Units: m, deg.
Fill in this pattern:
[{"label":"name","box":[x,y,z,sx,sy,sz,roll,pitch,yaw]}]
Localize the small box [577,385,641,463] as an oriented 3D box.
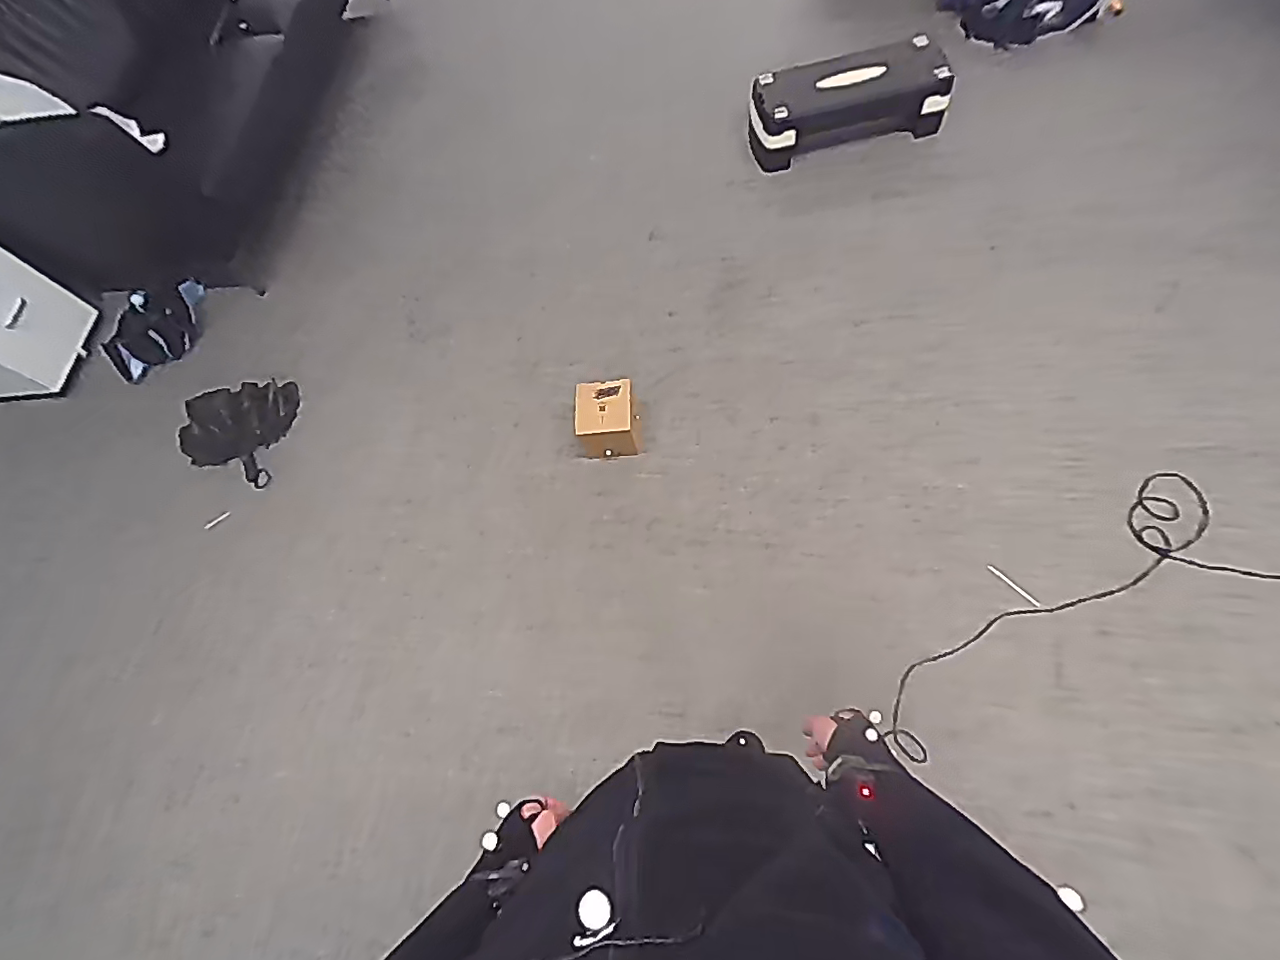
[{"label":"small box","box":[-0.090,-0.168,1.654,0.168,0.176,0.179,-5,66,8]}]
